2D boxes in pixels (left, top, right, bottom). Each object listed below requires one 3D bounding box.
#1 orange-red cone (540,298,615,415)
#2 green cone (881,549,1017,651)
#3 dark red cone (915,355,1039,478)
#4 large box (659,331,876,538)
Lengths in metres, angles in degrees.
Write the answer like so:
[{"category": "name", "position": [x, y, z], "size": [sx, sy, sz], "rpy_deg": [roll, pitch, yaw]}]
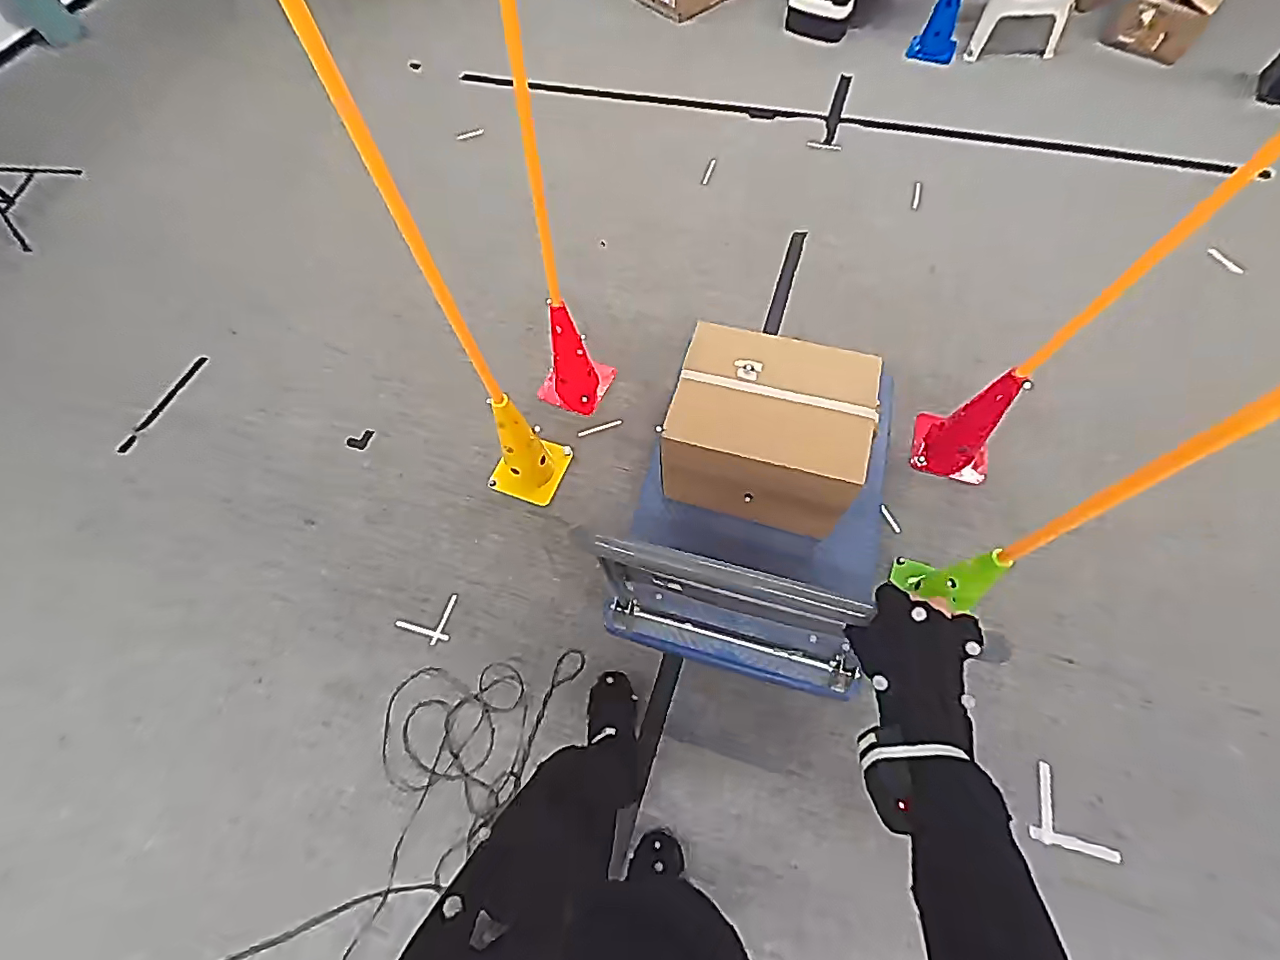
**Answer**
[{"category": "orange-red cone", "position": [-0.206, -0.390, 1.593], "size": [0.198, 0.360, 0.199], "rpy_deg": [23, 65, 13]}, {"category": "green cone", "position": [0.722, 0.235, 1.222], "size": [0.202, 0.368, 0.200], "rpy_deg": [19, 66, 11]}, {"category": "dark red cone", "position": [0.892, -0.182, 1.402], "size": [0.201, 0.394, 0.202], "rpy_deg": [16, 66, 9]}, {"category": "large box", "position": [0.283, -0.095, 1.254], "size": [0.408, 0.320, 0.320], "rpy_deg": [14, 66, 11]}]
